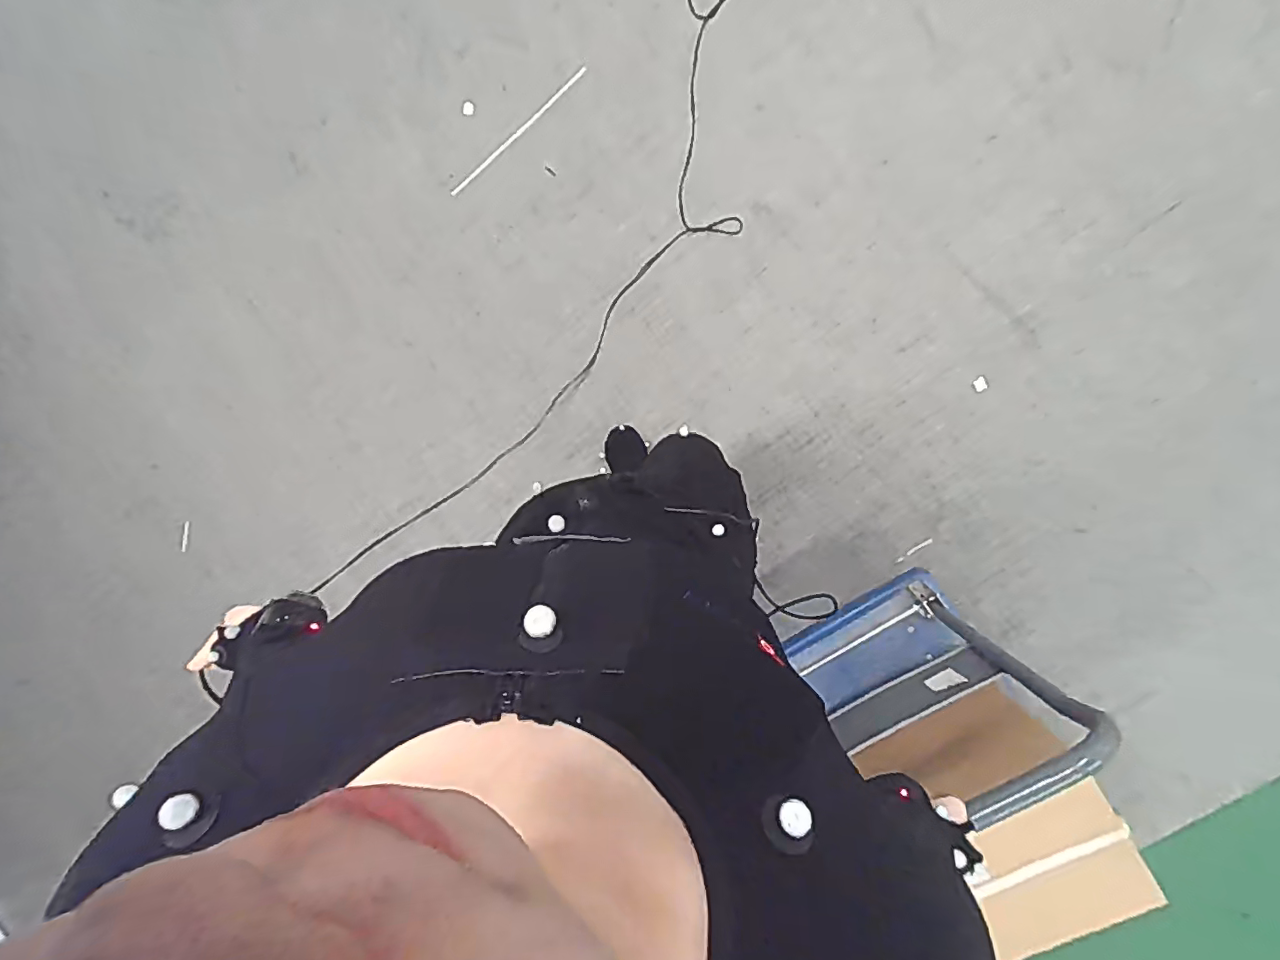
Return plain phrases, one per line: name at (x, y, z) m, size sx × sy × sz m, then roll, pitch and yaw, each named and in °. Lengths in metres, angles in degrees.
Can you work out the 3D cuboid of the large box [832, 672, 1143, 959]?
large box at (0.695, 0.690, 1.157) m, size 0.408 × 0.320 × 0.320 m, roll -31°, pitch 90°, yaw 9°
